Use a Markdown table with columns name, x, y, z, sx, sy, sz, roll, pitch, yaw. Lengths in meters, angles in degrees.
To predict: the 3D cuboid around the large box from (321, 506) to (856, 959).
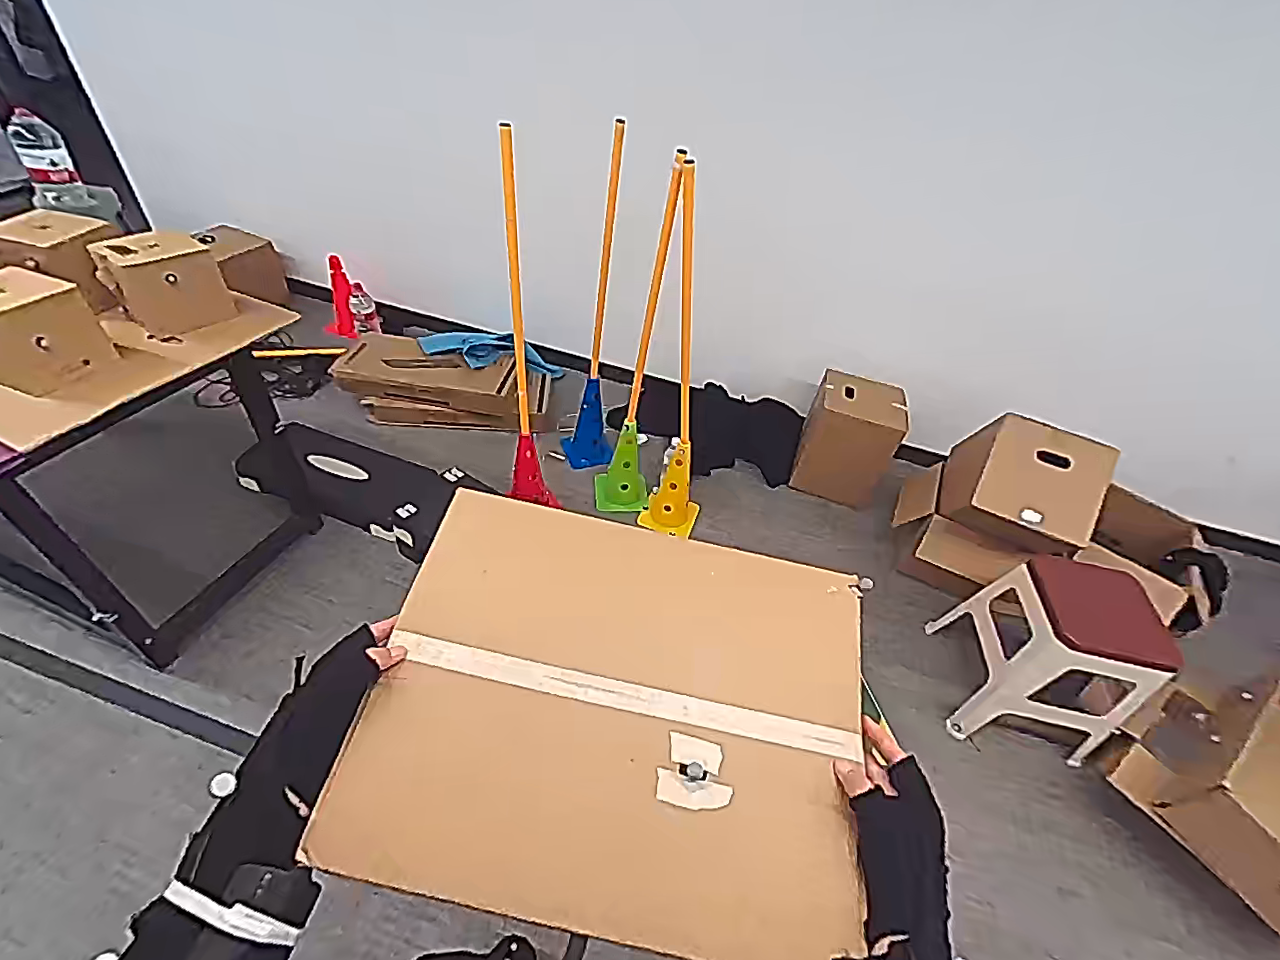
| name | x | y | z | sx | sy | sz | roll | pitch | yaw |
| --- | --- | --- | --- | --- | --- | --- | --- | --- | --- |
| large box | -0.029 | 0.267 | 0.592 | 0.408 | 0.320 | 0.320 | 13 | 59 | 1 |
